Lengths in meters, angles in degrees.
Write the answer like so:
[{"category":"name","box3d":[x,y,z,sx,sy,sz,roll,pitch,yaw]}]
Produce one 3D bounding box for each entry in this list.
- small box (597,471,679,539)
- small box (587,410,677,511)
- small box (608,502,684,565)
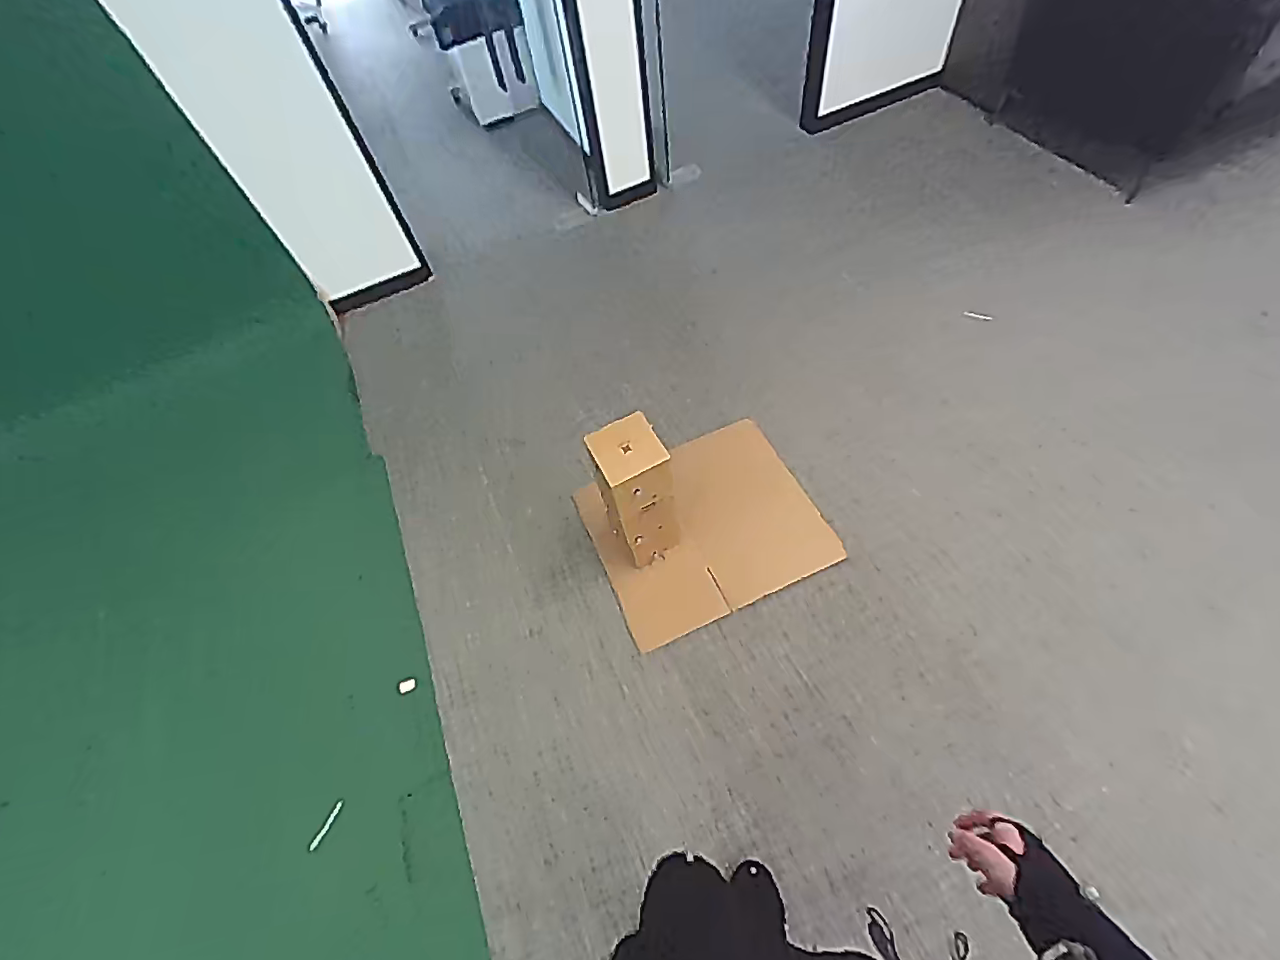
[{"category":"small box","box3d":[0.000,0.046,1.533,0.168,0.176,0.179,-27,58,-8]},{"category":"small box","box3d":[-0.016,-0.042,1.397,0.168,0.176,0.179,-27,58,-8]},{"category":"small box","box3d":[0.021,0.131,1.671,0.168,0.176,0.179,-30,59,-10]}]
